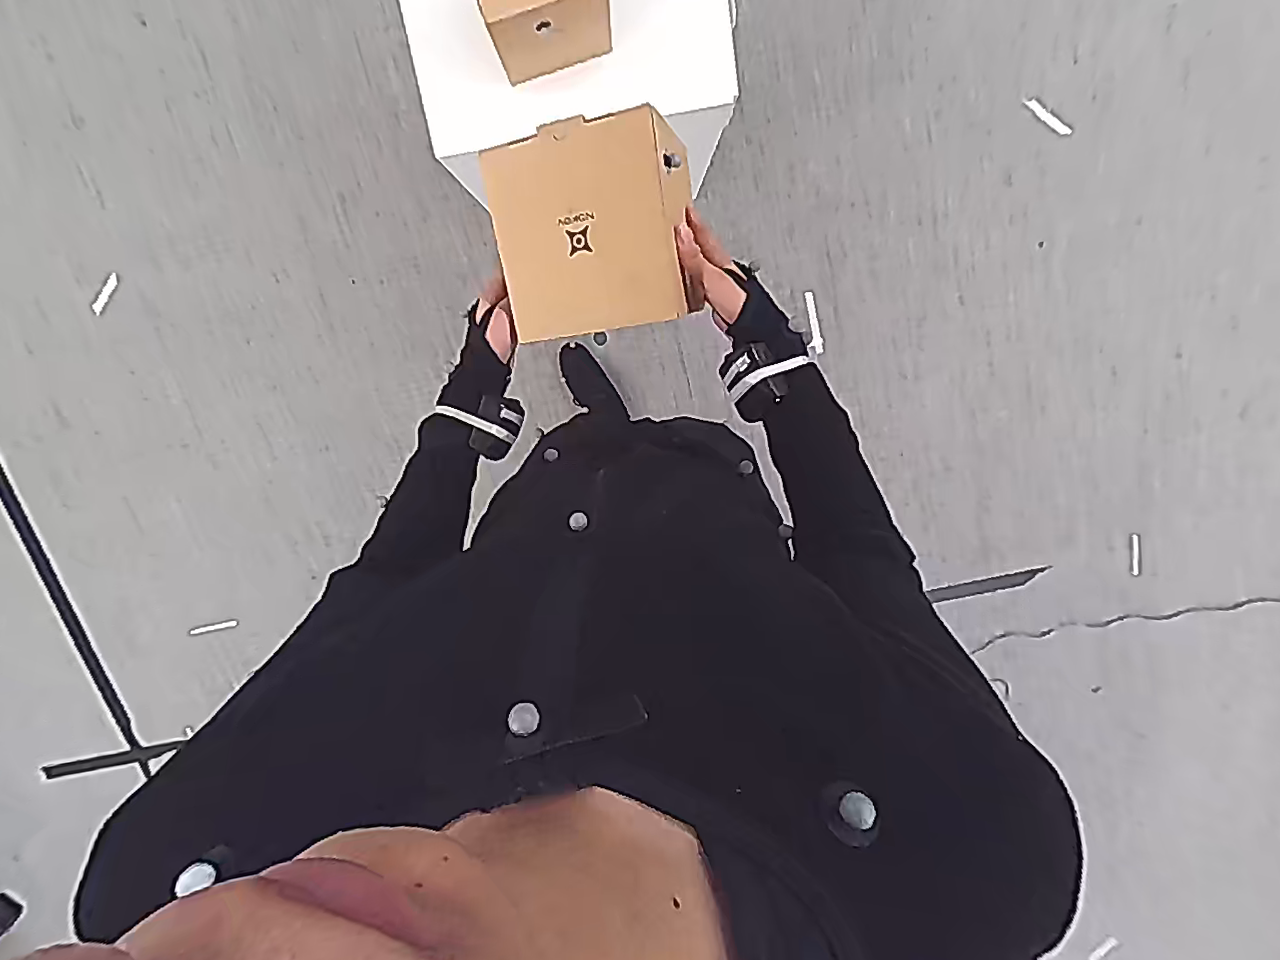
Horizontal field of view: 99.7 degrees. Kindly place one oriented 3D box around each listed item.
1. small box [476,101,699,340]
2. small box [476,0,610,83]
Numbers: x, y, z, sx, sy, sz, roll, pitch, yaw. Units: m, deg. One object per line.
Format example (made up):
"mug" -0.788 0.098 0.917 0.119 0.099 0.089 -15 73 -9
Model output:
"small box" -0.038 -0.252 0.563 0.168 0.176 0.179 -4 107 17
"small box" -0.149 -0.722 0.784 0.179 0.176 0.168 -17 102 2
